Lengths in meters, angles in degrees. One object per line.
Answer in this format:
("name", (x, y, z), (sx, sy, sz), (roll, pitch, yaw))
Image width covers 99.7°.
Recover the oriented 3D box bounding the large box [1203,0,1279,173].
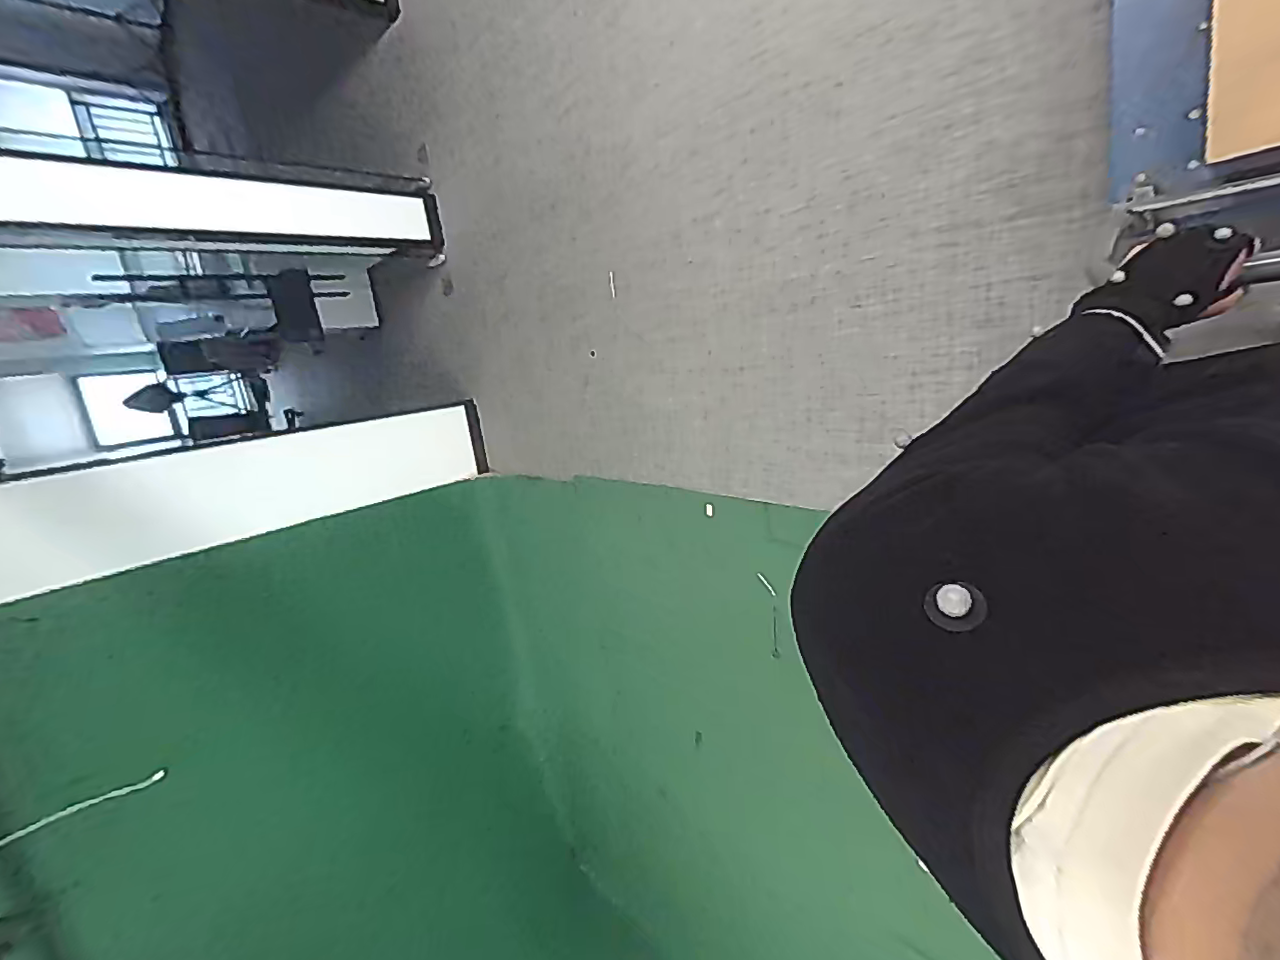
("large box", (0.962, -0.669, 0.695), (0.320, 0.320, 0.408), (3, 111, 47))
